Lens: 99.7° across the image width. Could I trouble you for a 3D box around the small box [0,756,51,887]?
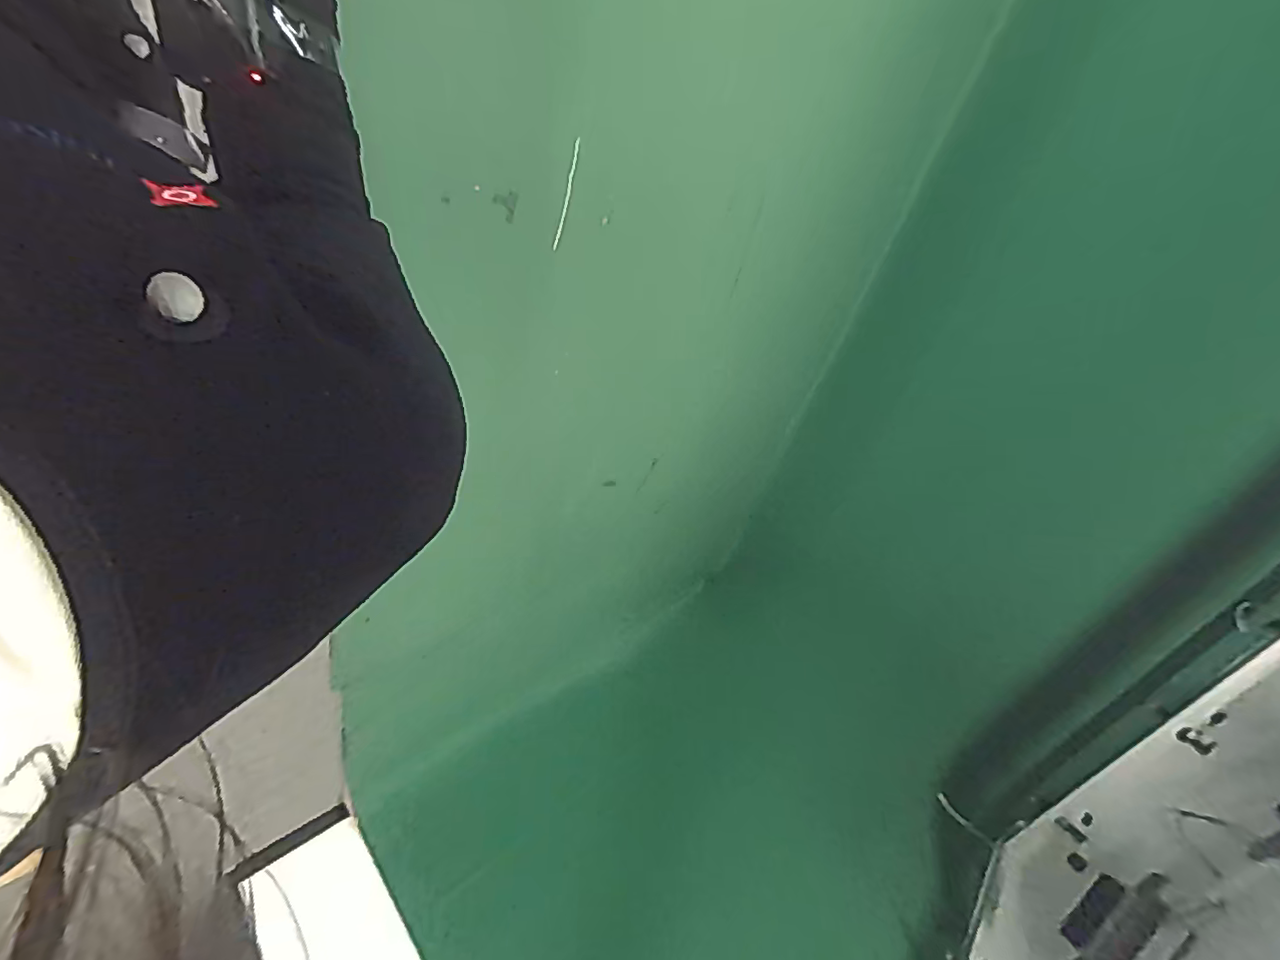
[{"bbox_3d":[-1.310,0.696,1.068,0.179,0.176,0.168,-11,128,-49],"label":"small box"}]
